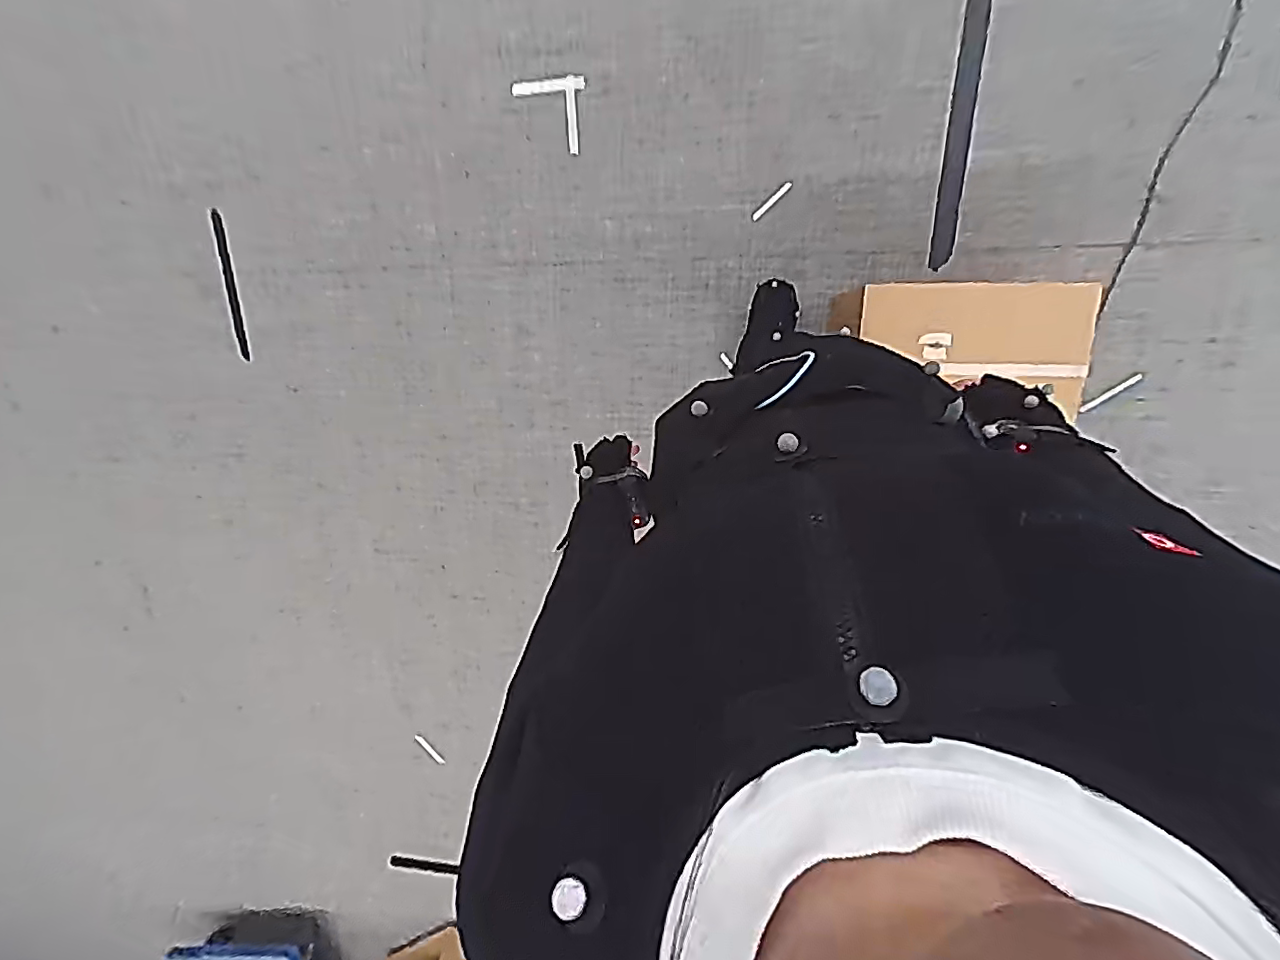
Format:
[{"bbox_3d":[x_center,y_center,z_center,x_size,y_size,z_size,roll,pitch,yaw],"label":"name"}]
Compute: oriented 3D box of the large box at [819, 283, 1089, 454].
[{"bbox_3d":[0.626,-0.242,1.163,0.408,0.320,0.320,3,104,9],"label":"large box"}]
